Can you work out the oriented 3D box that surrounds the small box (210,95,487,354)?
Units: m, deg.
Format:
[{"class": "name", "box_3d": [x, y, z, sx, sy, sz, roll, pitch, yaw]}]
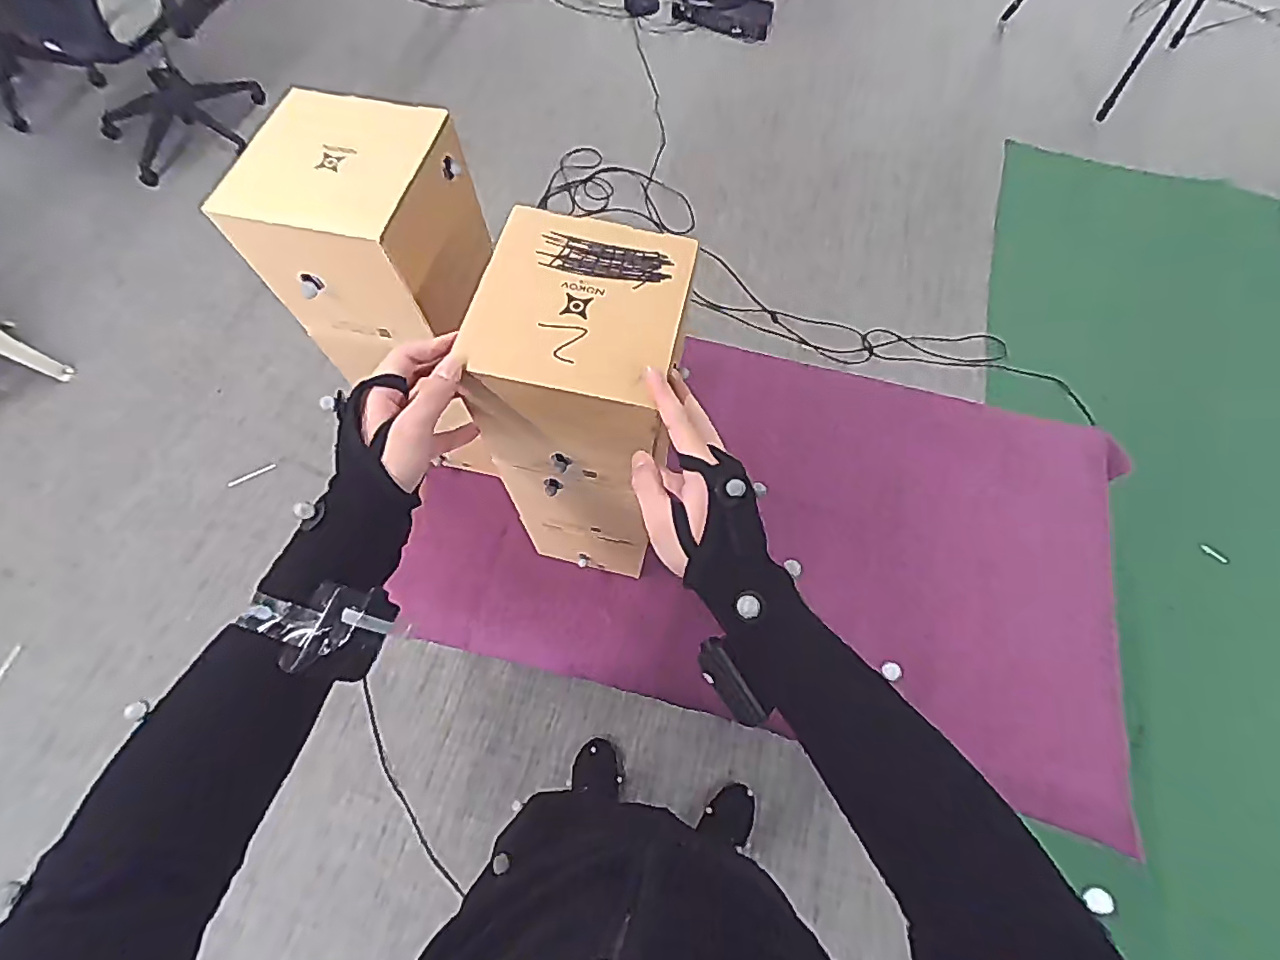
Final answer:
[{"class": "small box", "box_3d": [-0.279, -0.258, 0.570, 0.168, 0.176, 0.179, 11, 66, 5]}]

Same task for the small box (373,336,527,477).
[{"class": "small box", "box_3d": [-0.285, -0.127, 0.868, 0.168, 0.176, 0.179, 12, 67, 4]}]

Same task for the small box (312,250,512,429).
[{"class": "small box", "box_3d": [-0.281, -0.194, 0.719, 0.168, 0.176, 0.179, 12, 68, 5]}]

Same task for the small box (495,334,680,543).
[{"class": "small box", "box_3d": [-0.054, -0.043, 0.658, 0.168, 0.176, 0.179, 13, 67, 5]}]

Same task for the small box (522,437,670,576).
[{"class": "small box", "box_3d": [-0.059, 0.025, 0.806, 0.168, 0.176, 0.179, 13, 67, 5]}]
